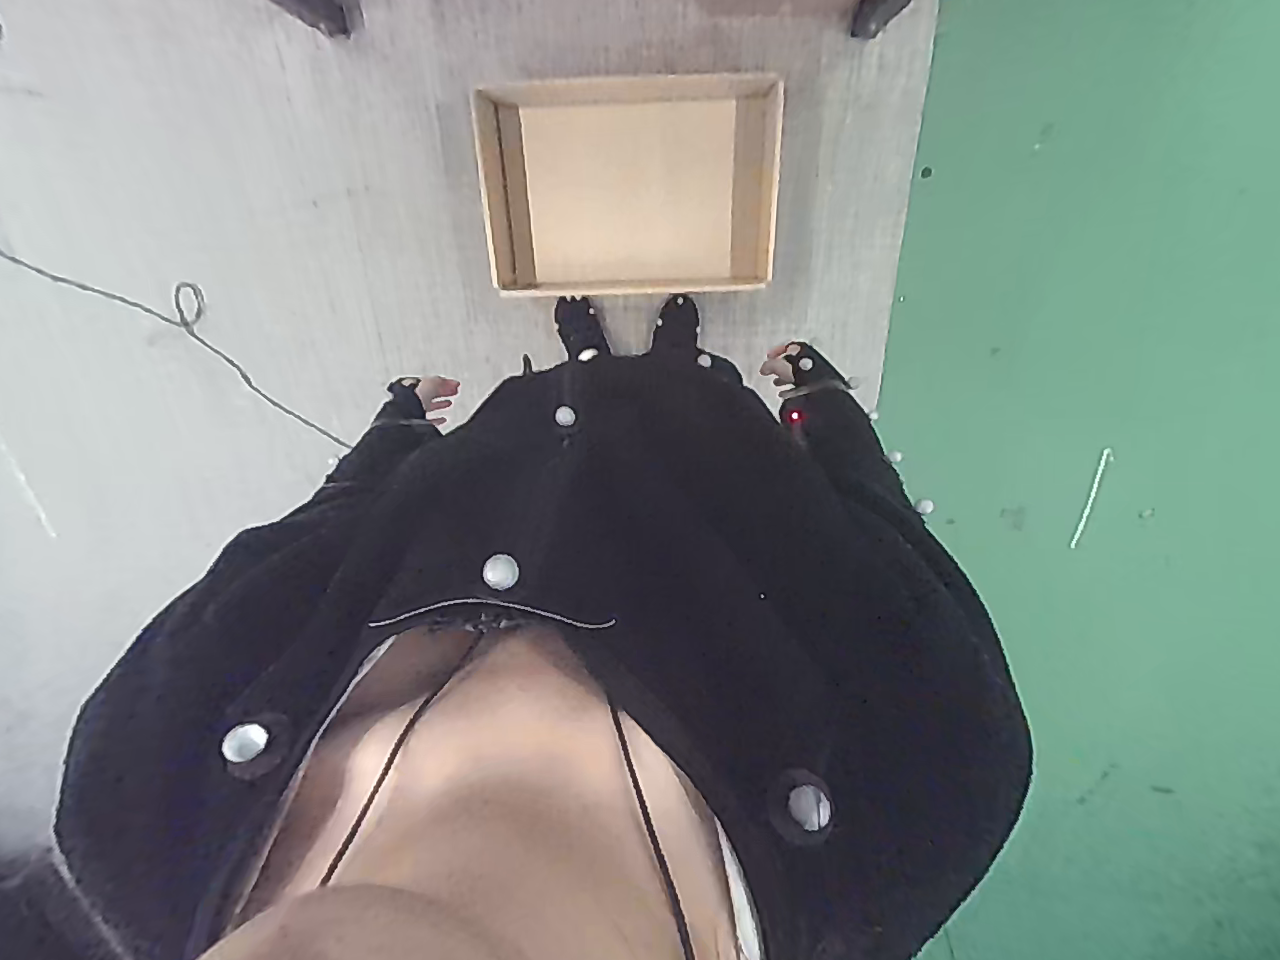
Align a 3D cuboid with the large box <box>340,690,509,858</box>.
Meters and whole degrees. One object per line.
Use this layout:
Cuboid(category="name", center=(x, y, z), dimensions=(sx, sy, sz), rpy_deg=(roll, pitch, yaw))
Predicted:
Cuboid(category="large box", center=(-0.729, 1.010, 1.877), dimensions=(0.408, 0.320, 0.320), rpy_deg=(28, 111, -8))
